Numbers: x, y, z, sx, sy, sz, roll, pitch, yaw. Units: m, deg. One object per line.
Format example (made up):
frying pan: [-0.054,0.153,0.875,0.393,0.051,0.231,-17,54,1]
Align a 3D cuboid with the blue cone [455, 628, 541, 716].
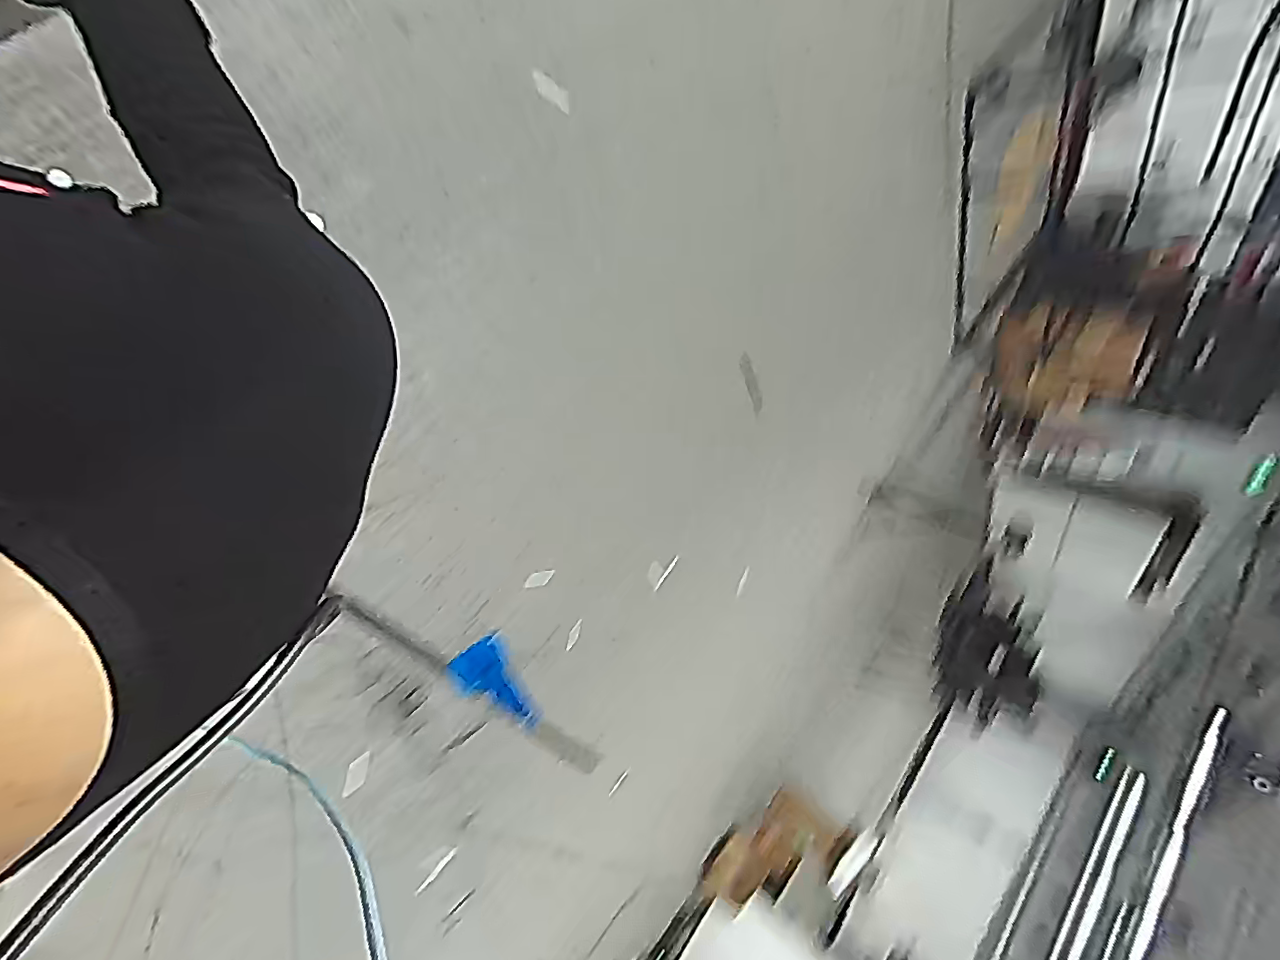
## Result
blue cone: [-0.465,0.711,1.899,0.193,0.380,0.192,-33,129,-33]
